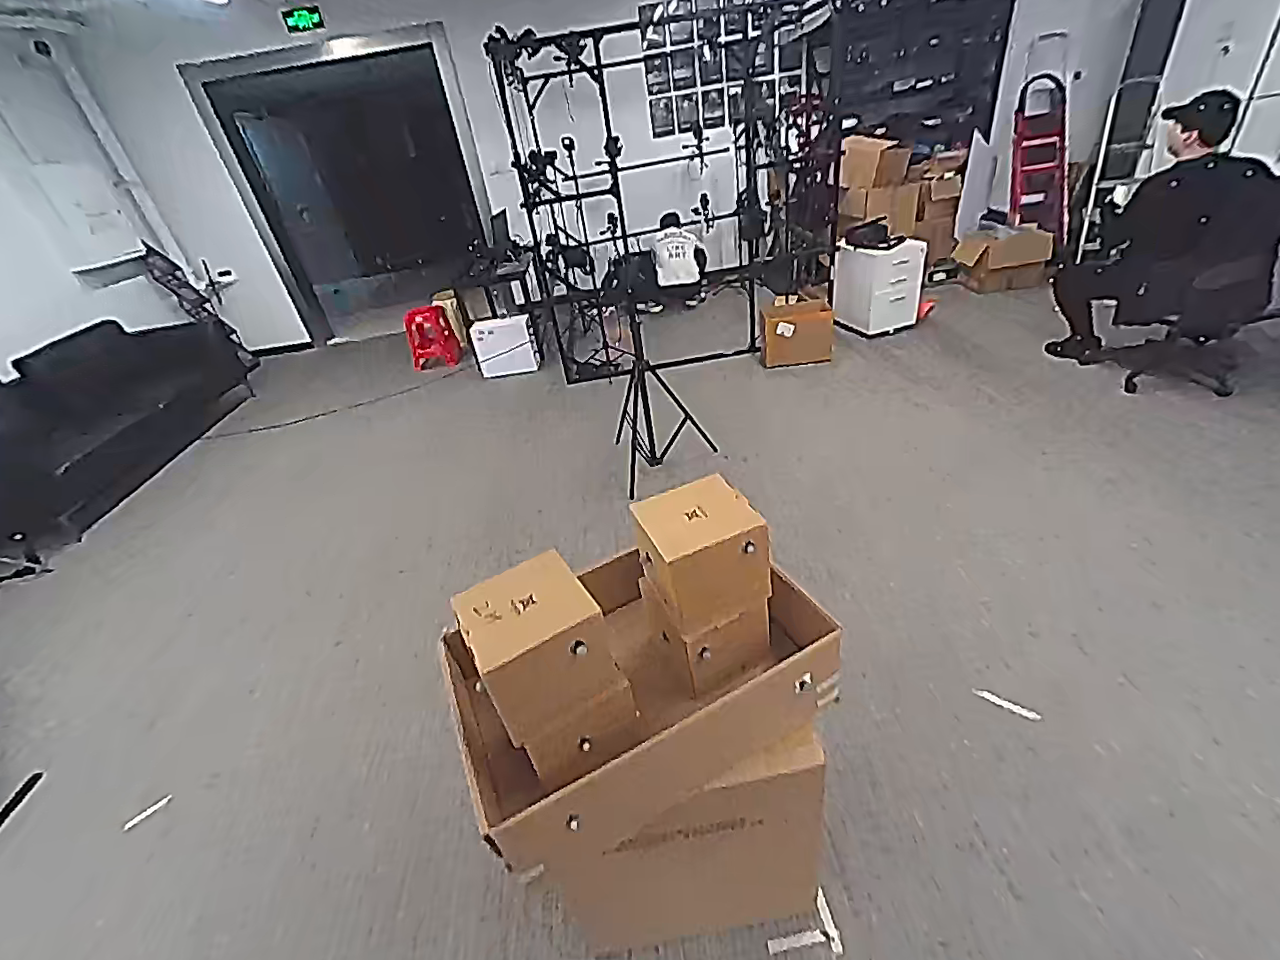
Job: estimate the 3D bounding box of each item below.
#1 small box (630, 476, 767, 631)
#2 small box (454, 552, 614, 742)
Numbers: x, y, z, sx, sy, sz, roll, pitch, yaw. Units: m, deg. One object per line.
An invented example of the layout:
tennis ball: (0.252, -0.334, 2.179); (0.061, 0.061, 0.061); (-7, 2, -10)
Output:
small box: (0.103, 0.125, 0.925); (0.179, 0.176, 0.168); (-20, 35, -13)
small box: (-0.152, 0.246, 0.812); (0.179, 0.176, 0.168); (-25, 36, -21)
